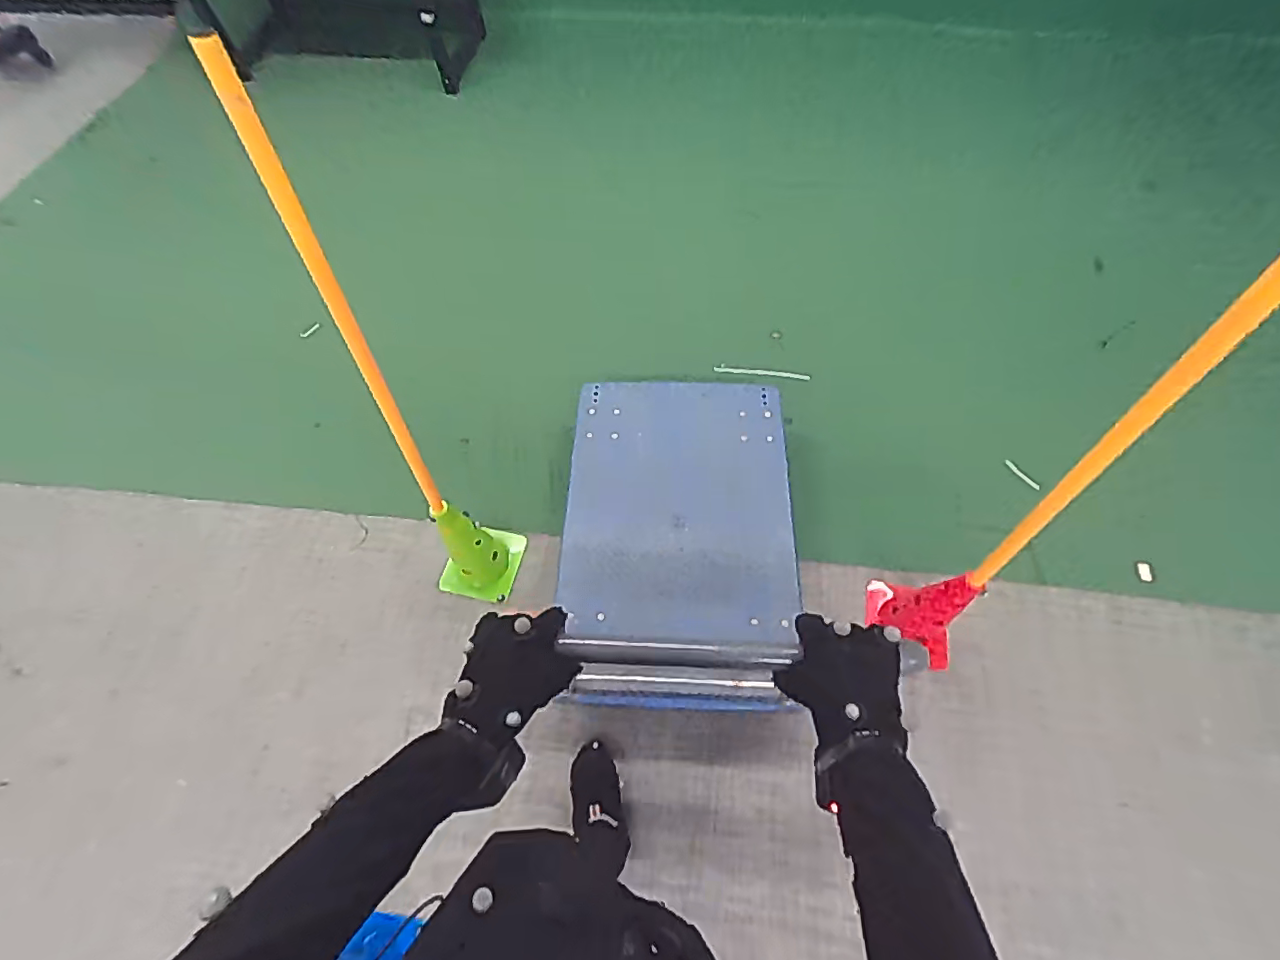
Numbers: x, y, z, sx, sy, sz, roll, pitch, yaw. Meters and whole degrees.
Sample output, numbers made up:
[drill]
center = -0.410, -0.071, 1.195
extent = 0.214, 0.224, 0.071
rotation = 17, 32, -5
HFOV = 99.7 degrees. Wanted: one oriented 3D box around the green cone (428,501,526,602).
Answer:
[green cone]
center = -0.443, 0.148, 1.366
extent = 0.202, 0.368, 0.200
rotation = 9, 61, 8
